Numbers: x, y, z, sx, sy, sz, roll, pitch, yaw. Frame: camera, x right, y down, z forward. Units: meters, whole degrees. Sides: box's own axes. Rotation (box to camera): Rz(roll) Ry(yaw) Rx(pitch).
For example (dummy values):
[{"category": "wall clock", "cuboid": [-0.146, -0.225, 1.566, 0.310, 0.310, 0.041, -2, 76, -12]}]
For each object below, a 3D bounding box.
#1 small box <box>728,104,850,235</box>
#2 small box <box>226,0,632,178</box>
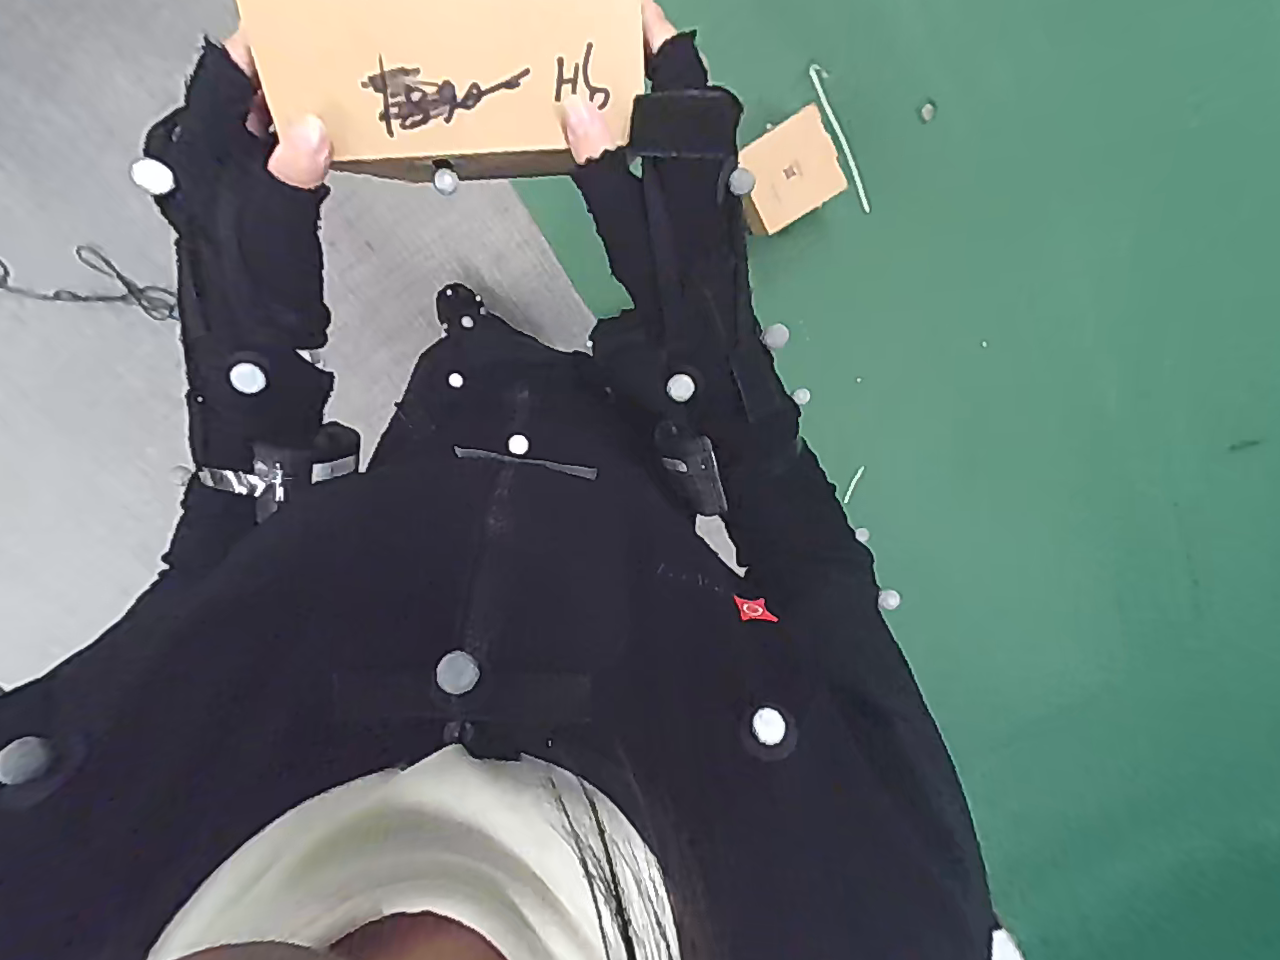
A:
[{"category": "small box", "cuboid": [0.302, -0.636, 1.128, 0.179, 0.176, 0.168, -29, 110, 13]}, {"category": "small box", "cuboid": [-0.095, -0.268, 0.282, 0.168, 0.176, 0.179, -5, 116, -2]}]
